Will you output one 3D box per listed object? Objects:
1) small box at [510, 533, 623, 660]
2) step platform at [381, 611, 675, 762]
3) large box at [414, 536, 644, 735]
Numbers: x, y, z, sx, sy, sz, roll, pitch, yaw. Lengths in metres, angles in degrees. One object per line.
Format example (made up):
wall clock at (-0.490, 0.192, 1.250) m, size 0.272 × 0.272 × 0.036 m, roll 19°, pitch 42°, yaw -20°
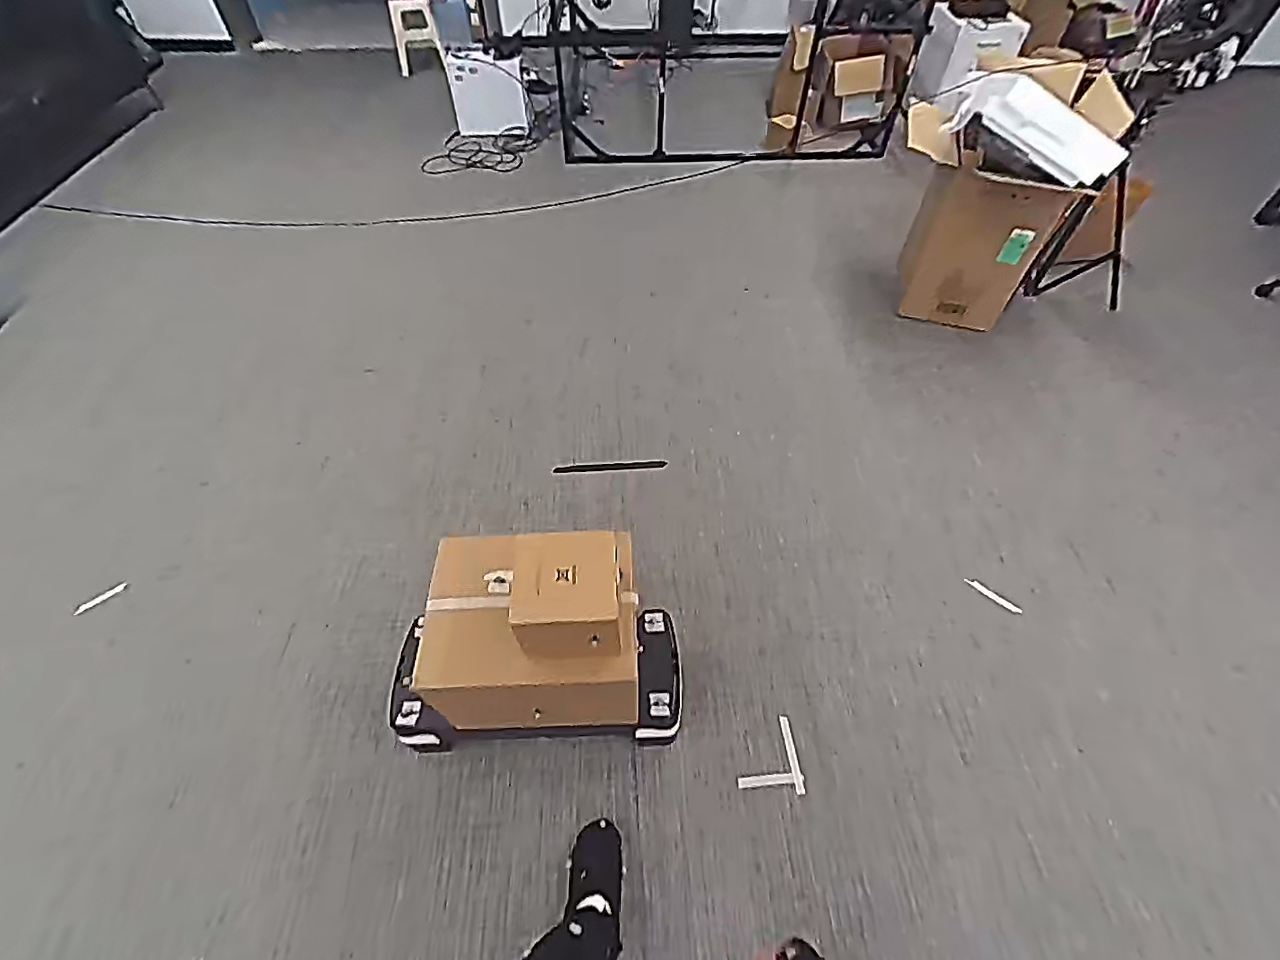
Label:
small box at (-0.117, 0.207, 0.947) m, size 0.179 × 0.176 × 0.168 m, roll -2°, pitch 53°, yaw -1°
step platform at (-0.256, 0.501, 1.330) m, size 0.684 × 0.204 × 0.286 m, roll 2°, pitch 52°, yaw 3°
large box at (-0.203, 0.339, 1.155) m, size 0.408 × 0.320 × 0.320 m, roll -3°, pitch 51°, yaw -1°
